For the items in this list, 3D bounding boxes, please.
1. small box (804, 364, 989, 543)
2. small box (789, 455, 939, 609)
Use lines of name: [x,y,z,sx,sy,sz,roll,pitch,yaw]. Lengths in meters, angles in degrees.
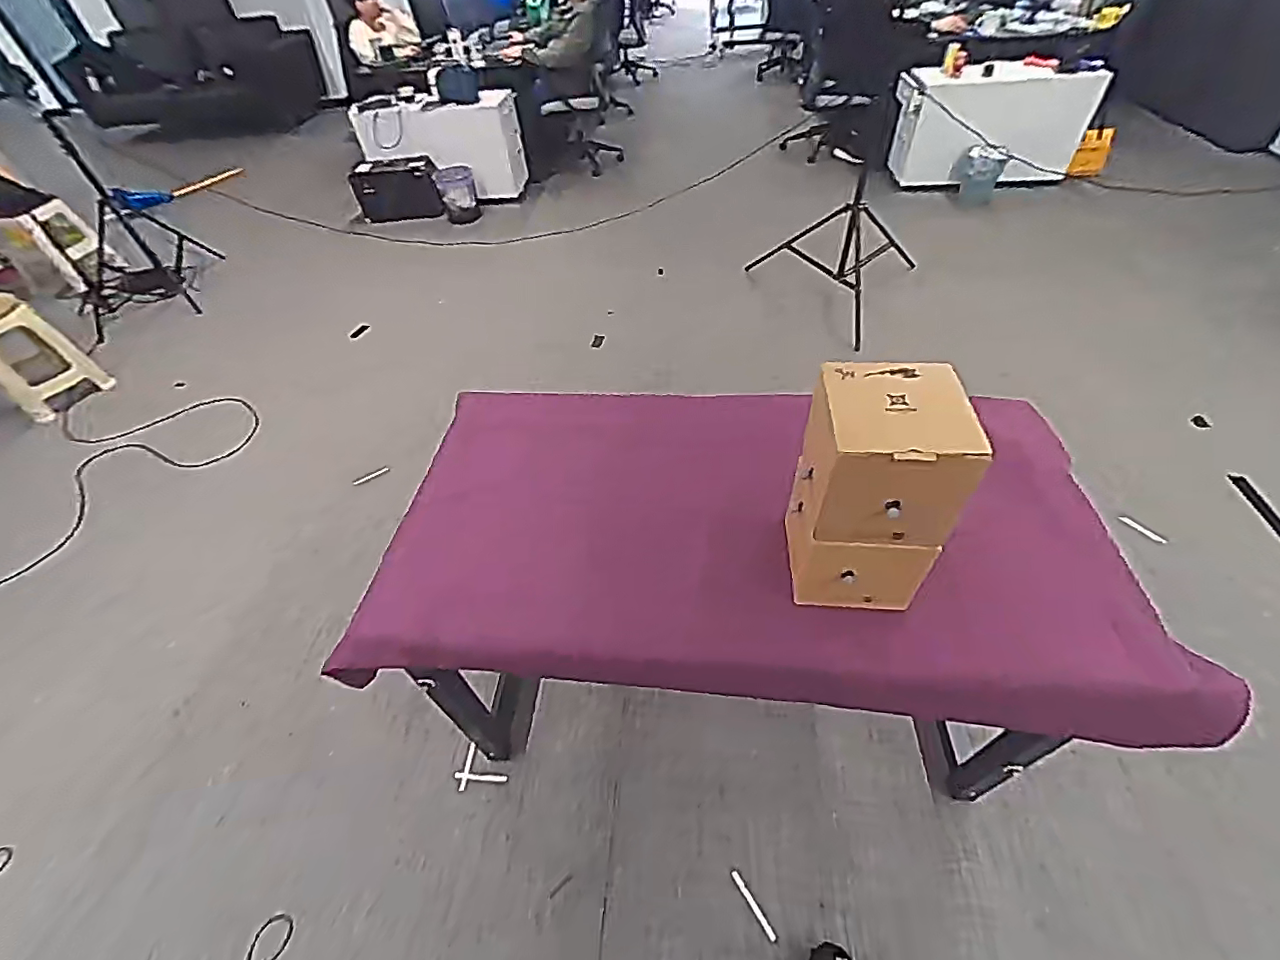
small box: [0.317,-0.034,0.712,0.168,0.176,0.179,2,48,7]
small box: [0.327,0.081,0.829,0.168,0.176,0.179,1,47,7]
